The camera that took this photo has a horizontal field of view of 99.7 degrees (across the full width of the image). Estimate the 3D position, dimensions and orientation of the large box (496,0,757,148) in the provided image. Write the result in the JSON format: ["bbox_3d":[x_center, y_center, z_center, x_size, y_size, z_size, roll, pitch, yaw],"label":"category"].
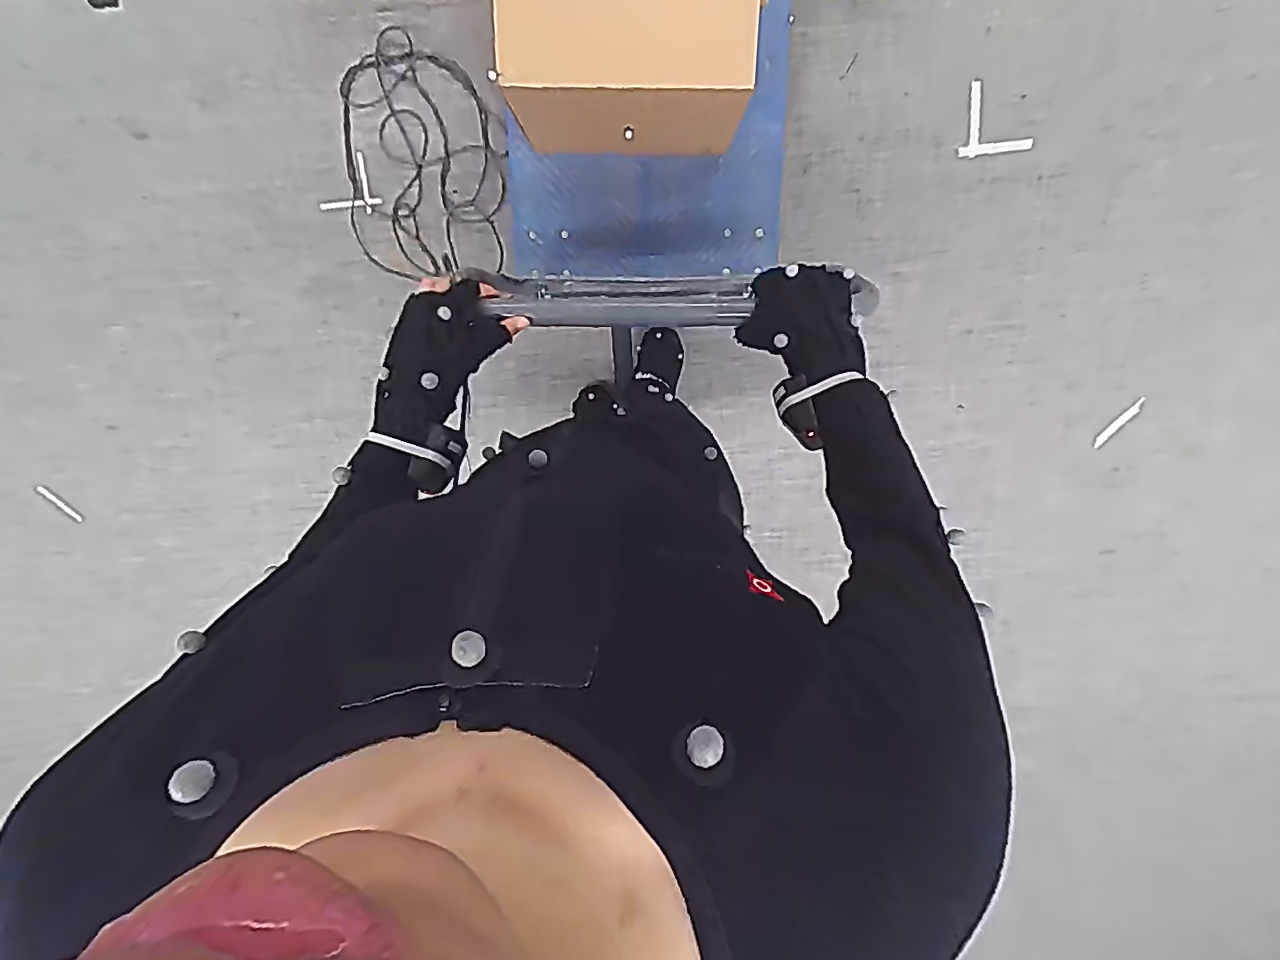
[{"bbox_3d":[-0.018,-0.802,0.952,0.408,0.320,0.320,1,105,1],"label":"large box"}]
